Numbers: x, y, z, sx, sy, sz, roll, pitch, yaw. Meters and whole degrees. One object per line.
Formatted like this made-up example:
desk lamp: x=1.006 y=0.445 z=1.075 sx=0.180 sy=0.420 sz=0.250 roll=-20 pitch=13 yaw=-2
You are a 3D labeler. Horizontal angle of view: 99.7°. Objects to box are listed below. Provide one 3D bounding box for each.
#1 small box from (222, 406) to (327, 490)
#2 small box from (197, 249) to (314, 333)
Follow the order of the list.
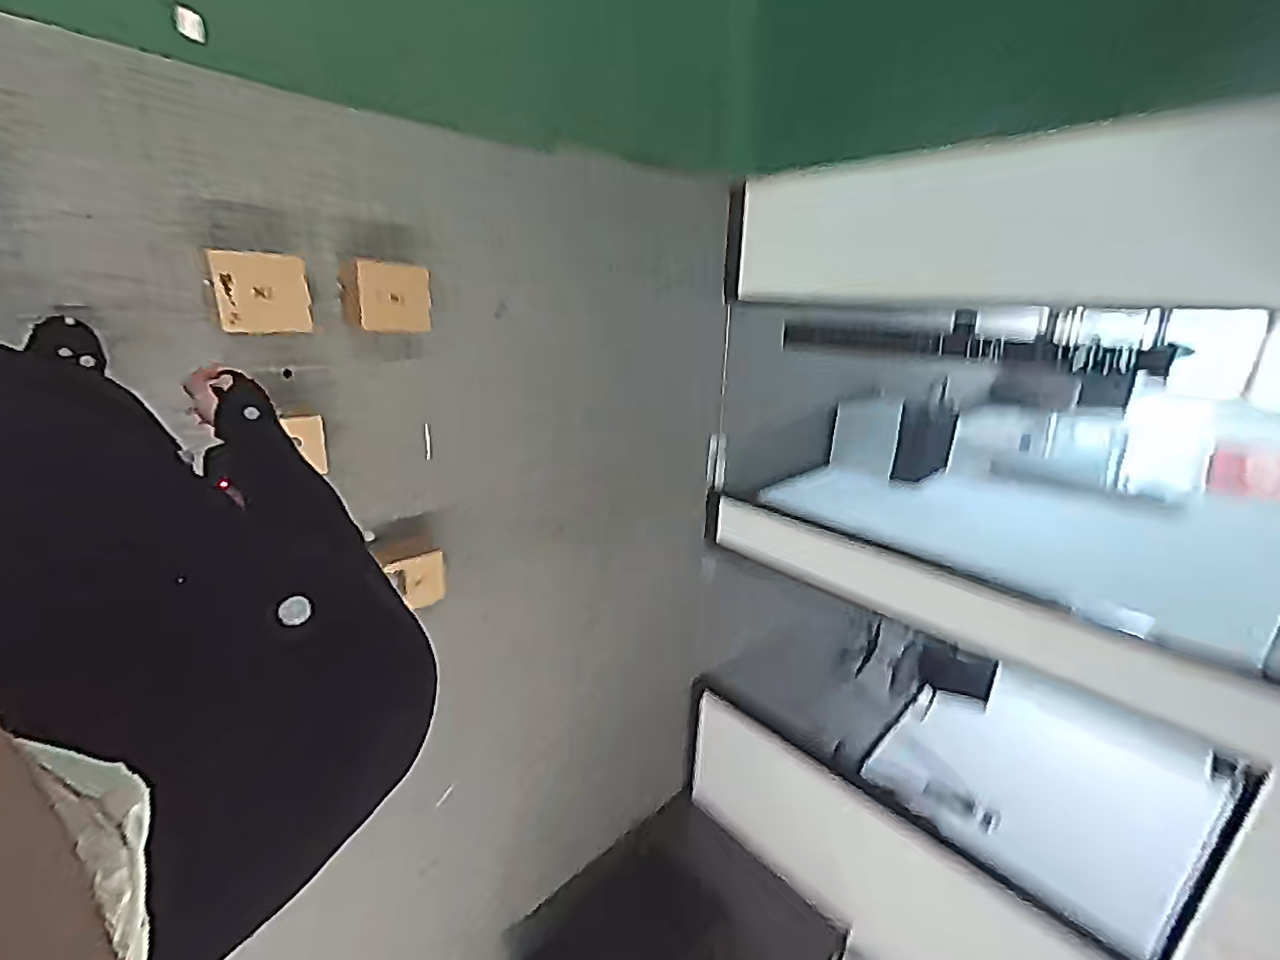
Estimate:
small box: x=-0.899 y=-0.086 z=1.333 sx=0.179 sy=0.176 sz=0.168 roll=-12 pitch=113 yaw=-43
small box: x=-0.872 y=-0.427 z=1.228 sx=0.179 sy=0.176 sz=0.168 roll=-14 pitch=114 yaw=-43
